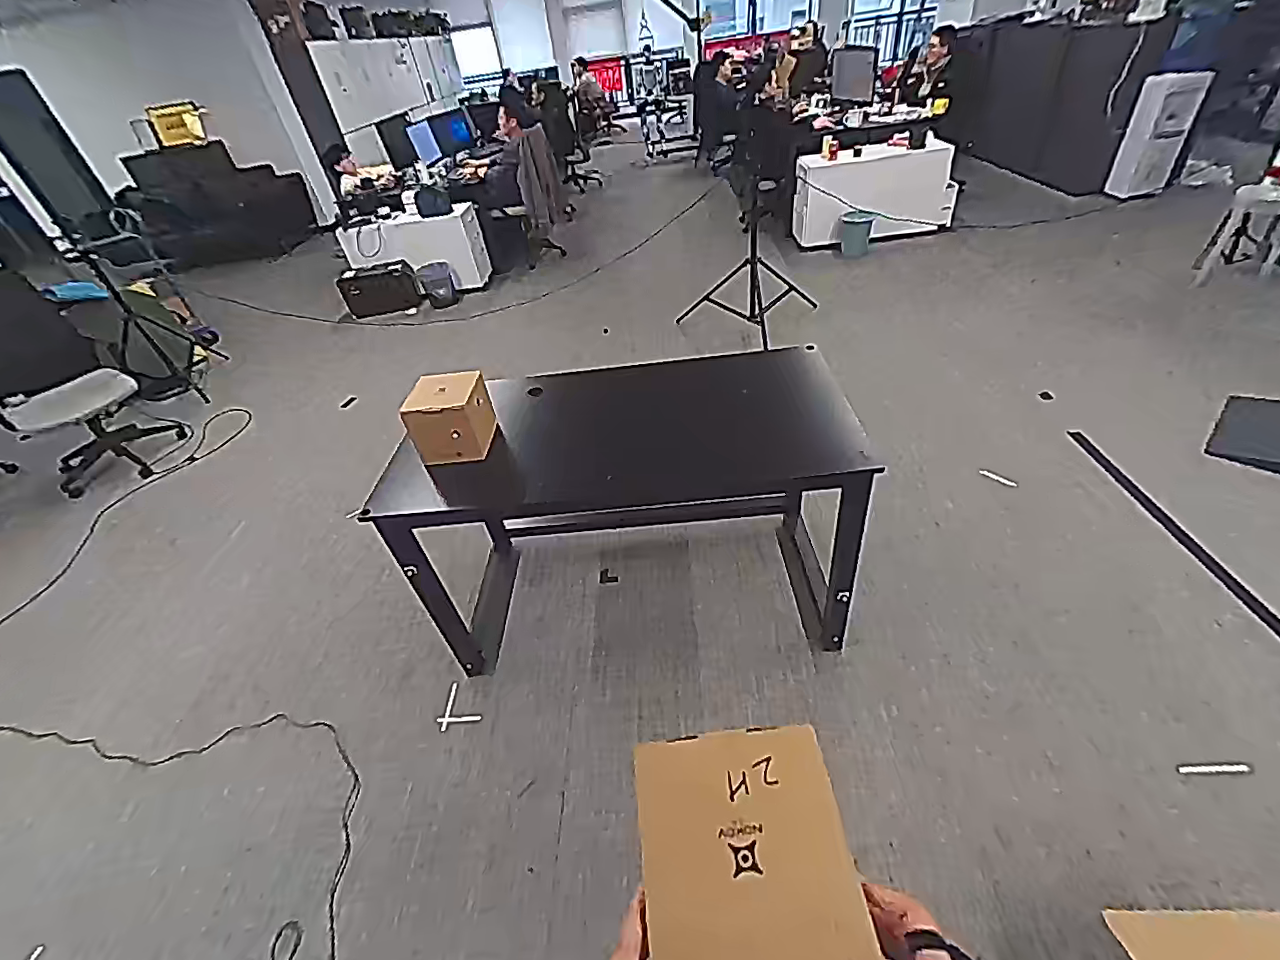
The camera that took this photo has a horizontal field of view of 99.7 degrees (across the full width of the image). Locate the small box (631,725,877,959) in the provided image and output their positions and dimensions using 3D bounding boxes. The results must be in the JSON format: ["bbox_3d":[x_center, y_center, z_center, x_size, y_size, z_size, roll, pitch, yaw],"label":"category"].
[{"bbox_3d":[0.086,0.346,0.486,0.168,0.176,0.179,-7,46,-1],"label":"small box"}]

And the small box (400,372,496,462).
[{"bbox_3d":[-0.489,-0.158,1.408,0.168,0.176,0.179,-5,39,3],"label":"small box"}]
